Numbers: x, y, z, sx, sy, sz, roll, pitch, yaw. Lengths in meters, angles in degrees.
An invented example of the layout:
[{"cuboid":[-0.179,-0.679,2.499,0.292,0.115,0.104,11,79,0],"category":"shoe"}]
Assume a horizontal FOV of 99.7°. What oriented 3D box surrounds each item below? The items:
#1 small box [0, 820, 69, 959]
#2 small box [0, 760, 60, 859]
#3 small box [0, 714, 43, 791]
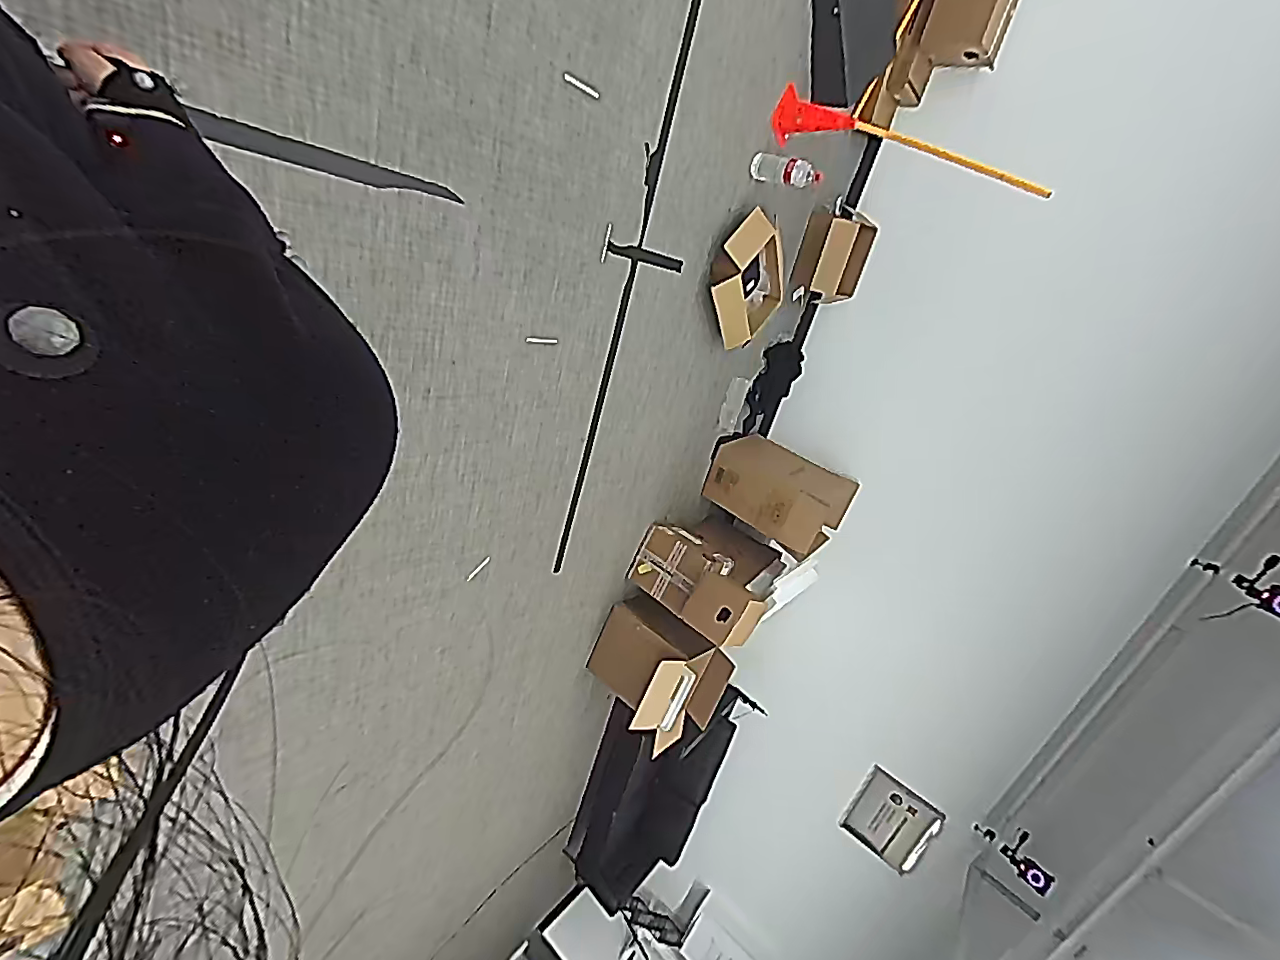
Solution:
[{"cuboid":[-1.239,0.802,1.030,0.168,0.176,0.179,-21,132,-47],"category":"small box"},{"cuboid":[-1.356,0.728,1.120,0.168,0.176,0.179,-21,134,-48],"category":"small box"},{"cuboid":[-1.478,0.653,1.199,0.168,0.176,0.179,-19,132,-48],"category":"small box"}]
